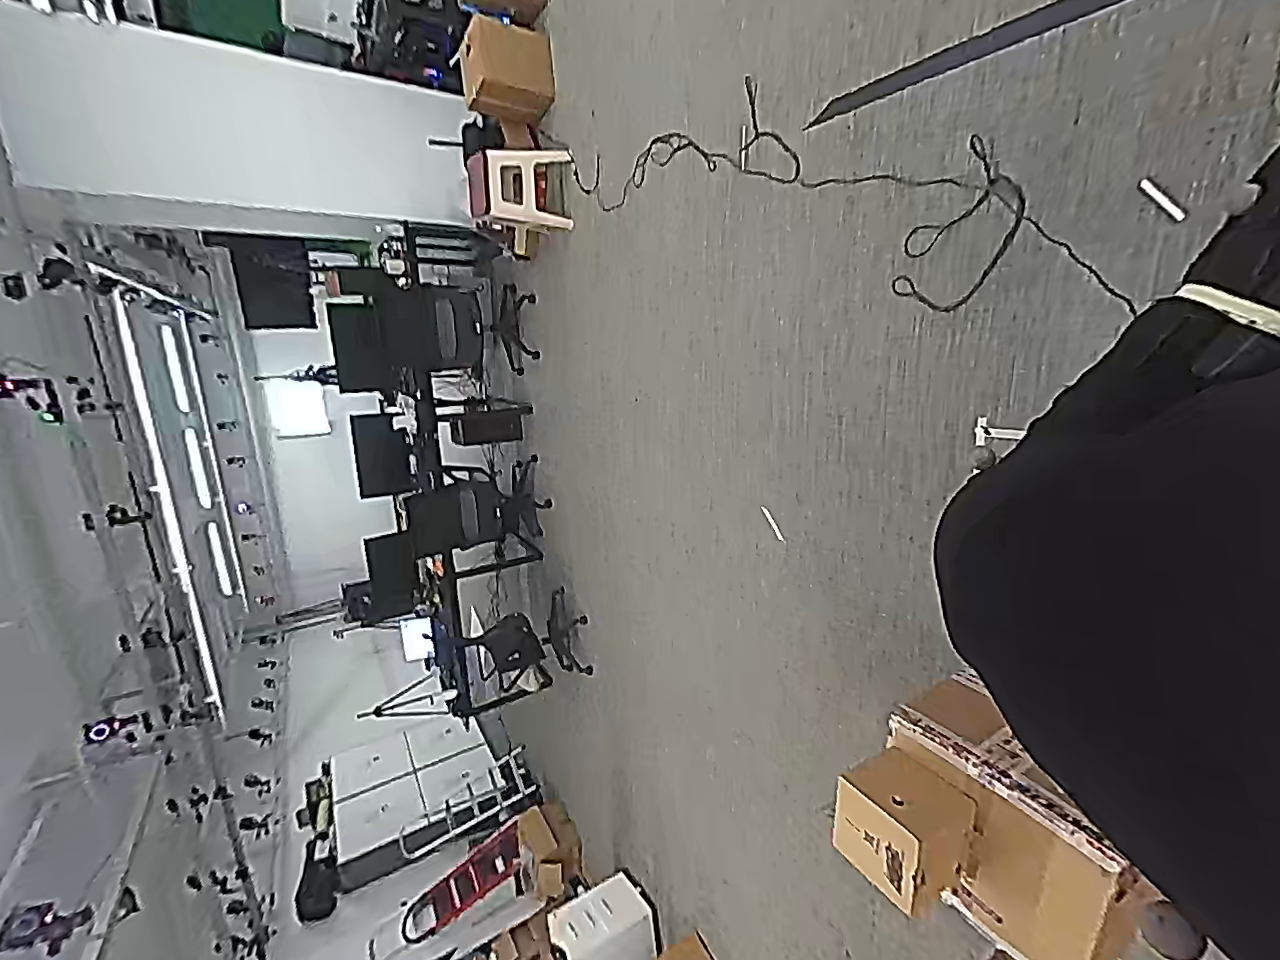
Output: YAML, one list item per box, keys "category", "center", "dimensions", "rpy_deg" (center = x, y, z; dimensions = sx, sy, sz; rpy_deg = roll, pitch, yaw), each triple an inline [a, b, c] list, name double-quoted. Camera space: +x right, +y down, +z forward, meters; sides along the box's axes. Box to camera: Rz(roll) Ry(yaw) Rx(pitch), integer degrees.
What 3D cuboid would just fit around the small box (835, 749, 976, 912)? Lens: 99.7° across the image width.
- category: "small box"
  center: [0.505, 0.653, 1.035]
  dimensions: [0.179, 0.176, 0.168]
  rpy_deg: [22, 115, 58]
